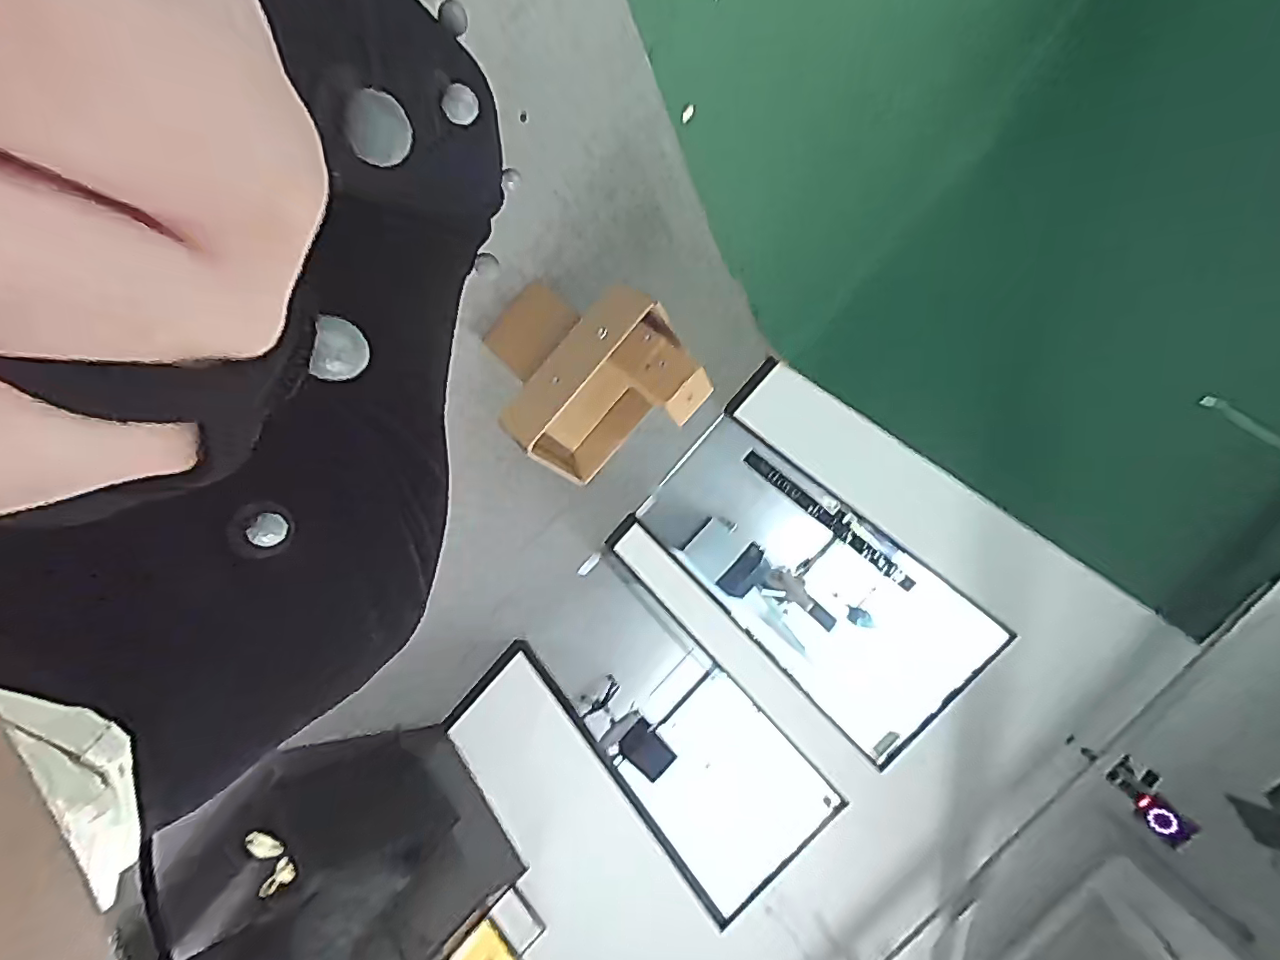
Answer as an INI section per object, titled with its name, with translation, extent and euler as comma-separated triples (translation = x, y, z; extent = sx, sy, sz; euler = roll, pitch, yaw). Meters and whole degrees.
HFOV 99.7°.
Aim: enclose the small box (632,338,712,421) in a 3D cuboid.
[small box]
translation = 0.103, -0.328, 1.756
extent = 0.168, 0.176, 0.179
euler = -48, 154, 2
